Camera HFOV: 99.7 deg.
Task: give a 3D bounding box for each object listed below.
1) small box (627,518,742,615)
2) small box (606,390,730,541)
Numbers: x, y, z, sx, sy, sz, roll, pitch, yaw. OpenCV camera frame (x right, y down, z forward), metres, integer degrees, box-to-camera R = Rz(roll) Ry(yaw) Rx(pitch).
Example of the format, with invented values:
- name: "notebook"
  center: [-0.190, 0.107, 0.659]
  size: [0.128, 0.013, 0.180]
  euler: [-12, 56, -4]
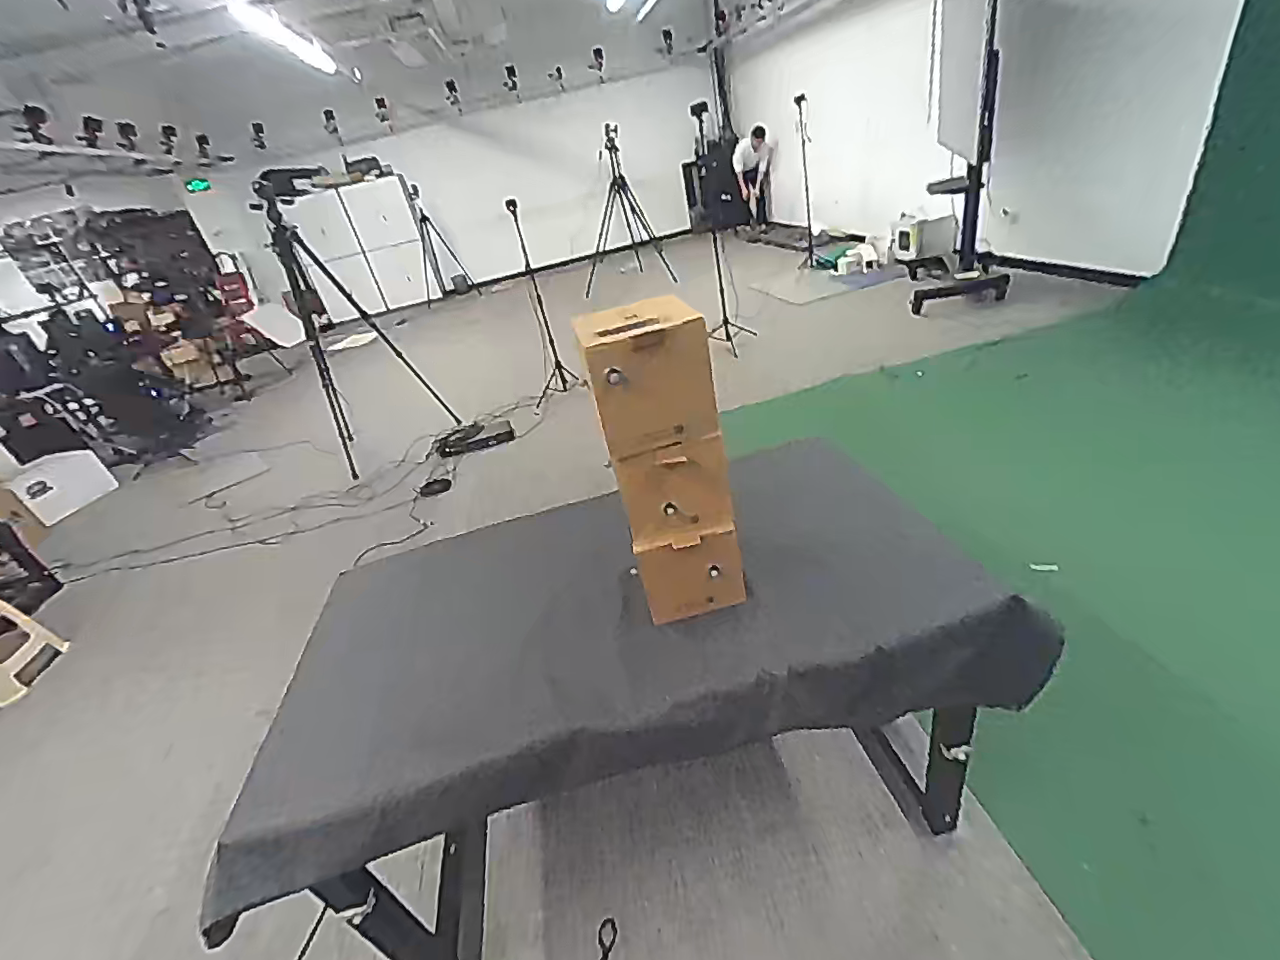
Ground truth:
- name: "small box"
  center: [0.074, 0.119, 0.958]
  size: [0.168, 0.176, 0.179]
  euler: [-13, 29, -2]
- name: "small box"
  center: [0.044, -0.026, 0.890]
  size: [0.168, 0.176, 0.179]
  euler: [-13, 31, -1]
